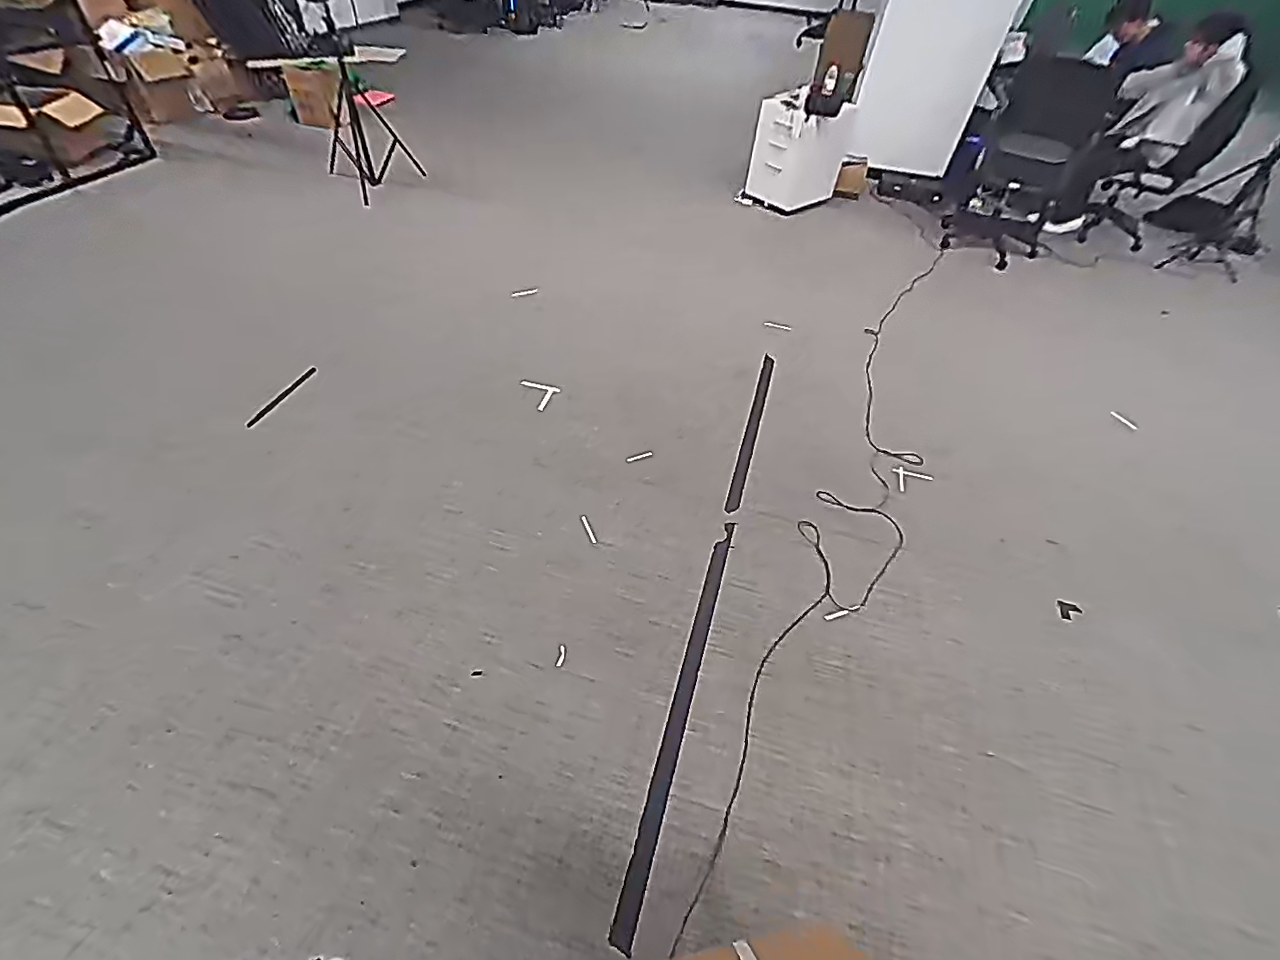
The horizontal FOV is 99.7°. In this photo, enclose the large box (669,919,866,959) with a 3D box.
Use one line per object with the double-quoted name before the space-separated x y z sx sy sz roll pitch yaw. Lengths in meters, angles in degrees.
"large box" 0.205 0.816 0.618 0.320 0.408 0.320 -8 77 -10
